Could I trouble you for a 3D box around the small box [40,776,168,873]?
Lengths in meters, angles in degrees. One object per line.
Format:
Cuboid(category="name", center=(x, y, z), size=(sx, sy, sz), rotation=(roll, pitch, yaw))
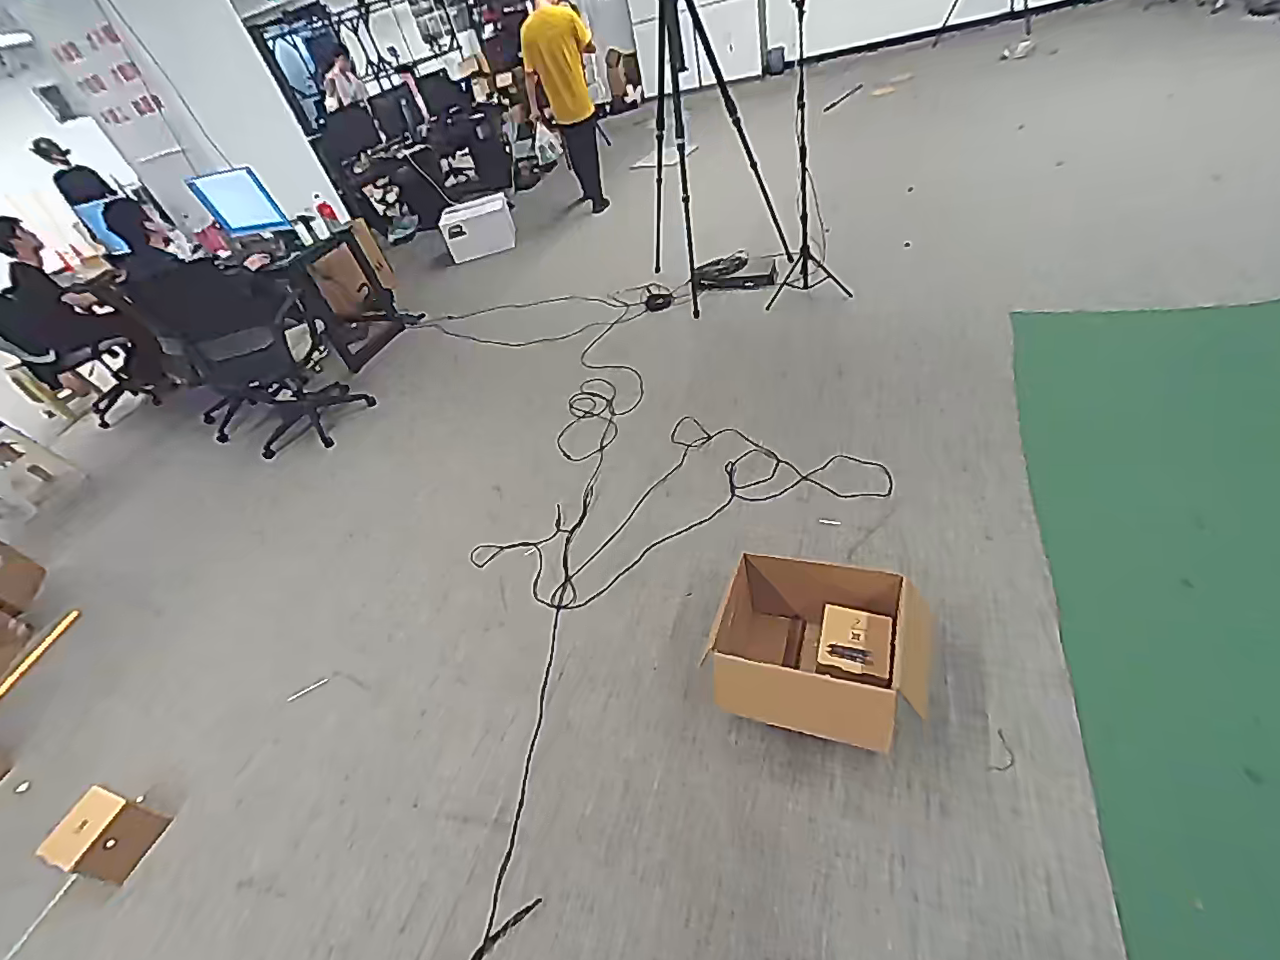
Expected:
Cuboid(category="small box", center=(-1.512, 0.985, 1.544), size=(0.168, 0.176, 0.179), rotation=(5, 48, 21))
